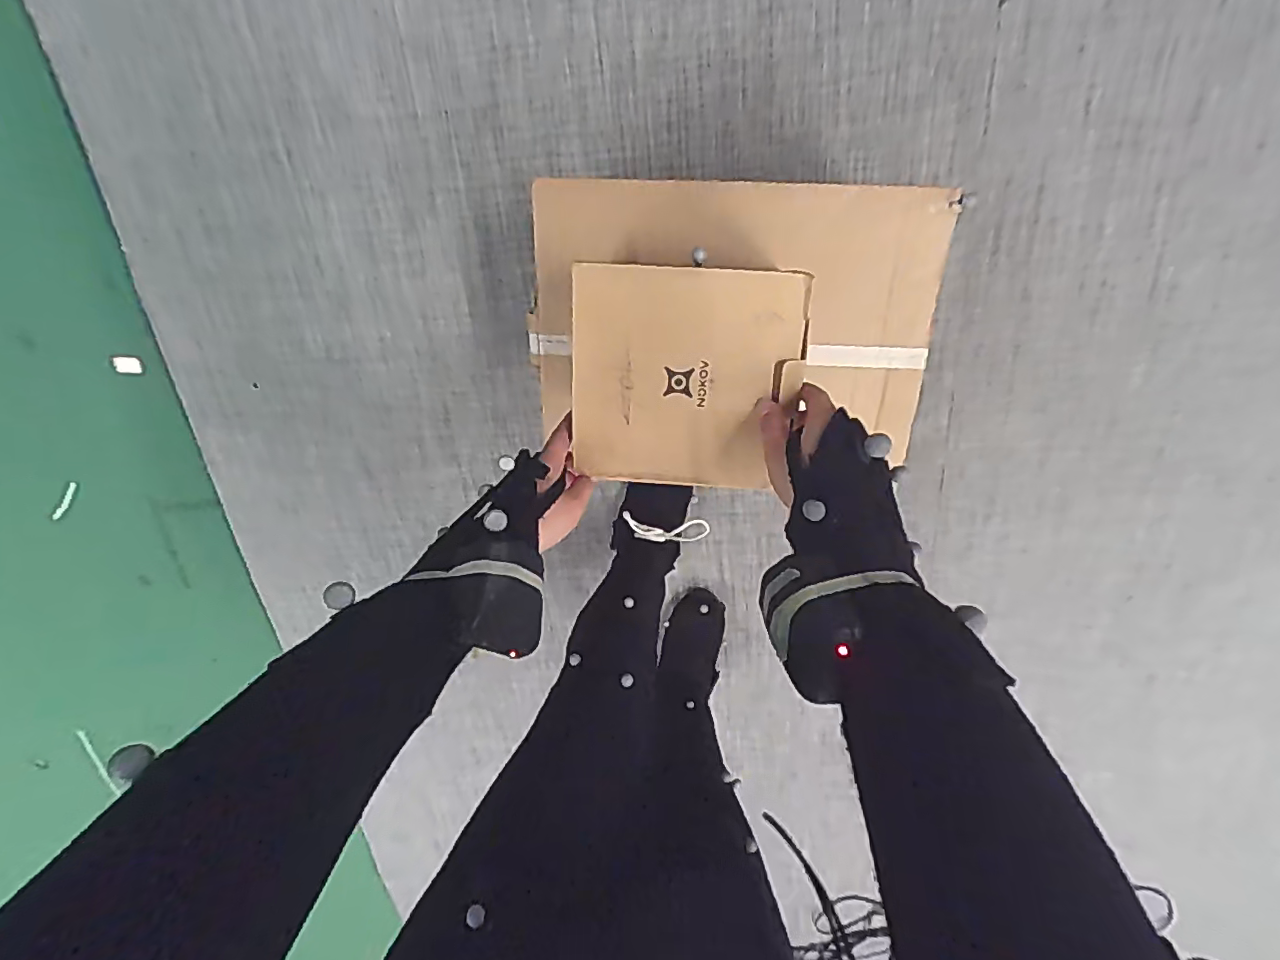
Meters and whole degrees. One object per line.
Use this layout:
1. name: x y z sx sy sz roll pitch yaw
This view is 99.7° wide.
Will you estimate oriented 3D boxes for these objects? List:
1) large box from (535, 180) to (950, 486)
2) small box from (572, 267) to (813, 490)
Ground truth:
1. large box: 0.101 -0.194 0.709 0.408 0.320 0.320 2 113 3
2. small box: 0.040 -0.101 0.489 0.179 0.176 0.168 4 110 4
